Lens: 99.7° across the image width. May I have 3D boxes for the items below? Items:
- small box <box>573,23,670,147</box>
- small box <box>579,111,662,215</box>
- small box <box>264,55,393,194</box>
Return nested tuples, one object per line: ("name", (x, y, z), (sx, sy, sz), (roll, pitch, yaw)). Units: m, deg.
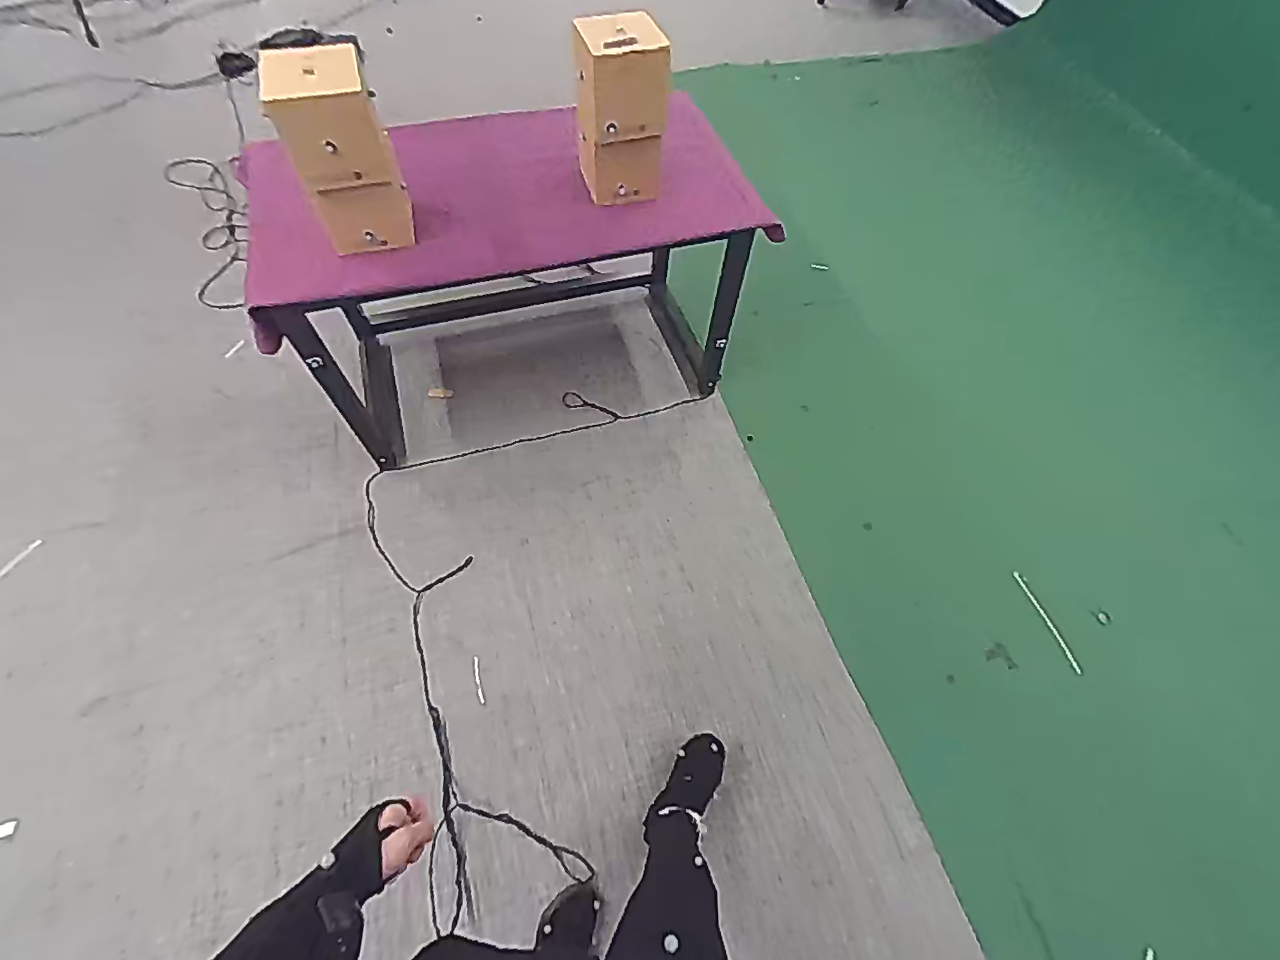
("small box", (-0.041, -0.852, 1.181), (0.168, 0.176, 0.179), (-15, 60, -10))
("small box", (-0.051, -0.786, 1.331), (0.168, 0.176, 0.179), (-13, 61, -9))
("small box", (-0.594, -0.680, 1.047), (0.168, 0.176, 0.179), (-14, 62, -12))
